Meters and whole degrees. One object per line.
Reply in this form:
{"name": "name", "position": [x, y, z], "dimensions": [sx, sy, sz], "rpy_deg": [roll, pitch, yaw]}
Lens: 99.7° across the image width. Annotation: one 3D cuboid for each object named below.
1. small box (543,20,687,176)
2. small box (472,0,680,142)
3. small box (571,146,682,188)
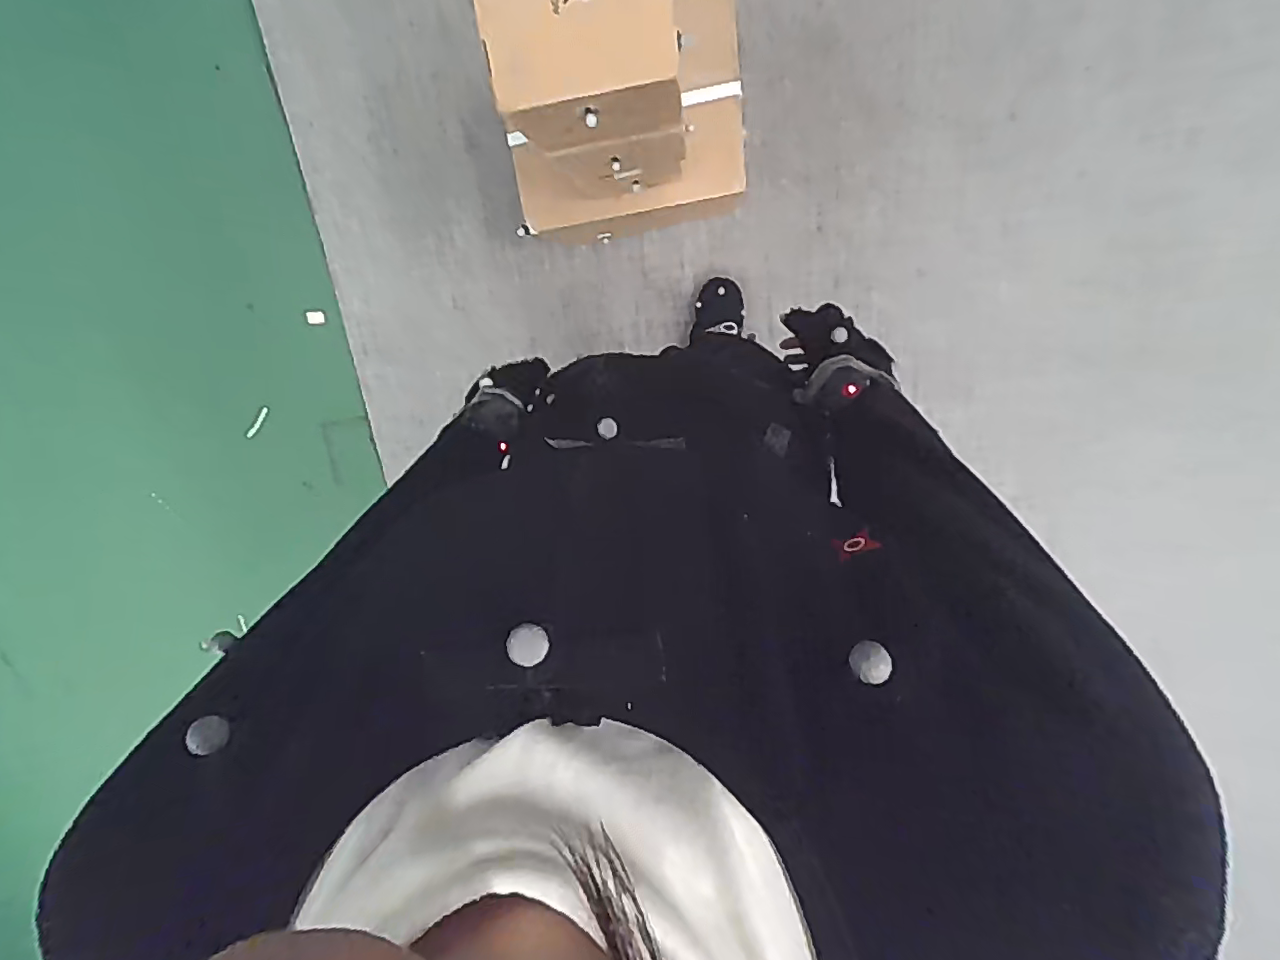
{"name": "small box", "position": [-0.038, -0.512, 0.698], "dimensions": [0.179, 0.176, 0.168], "rpy_deg": [-9, 109, 9]}
{"name": "small box", "position": [-0.057, -0.462, 0.545], "dimensions": [0.179, 0.176, 0.168], "rpy_deg": [-6, 110, 8]}
{"name": "small box", "position": [-0.029, -0.574, 0.850], "dimensions": [0.168, 0.176, 0.179], "rpy_deg": [-7, 110, 10]}
